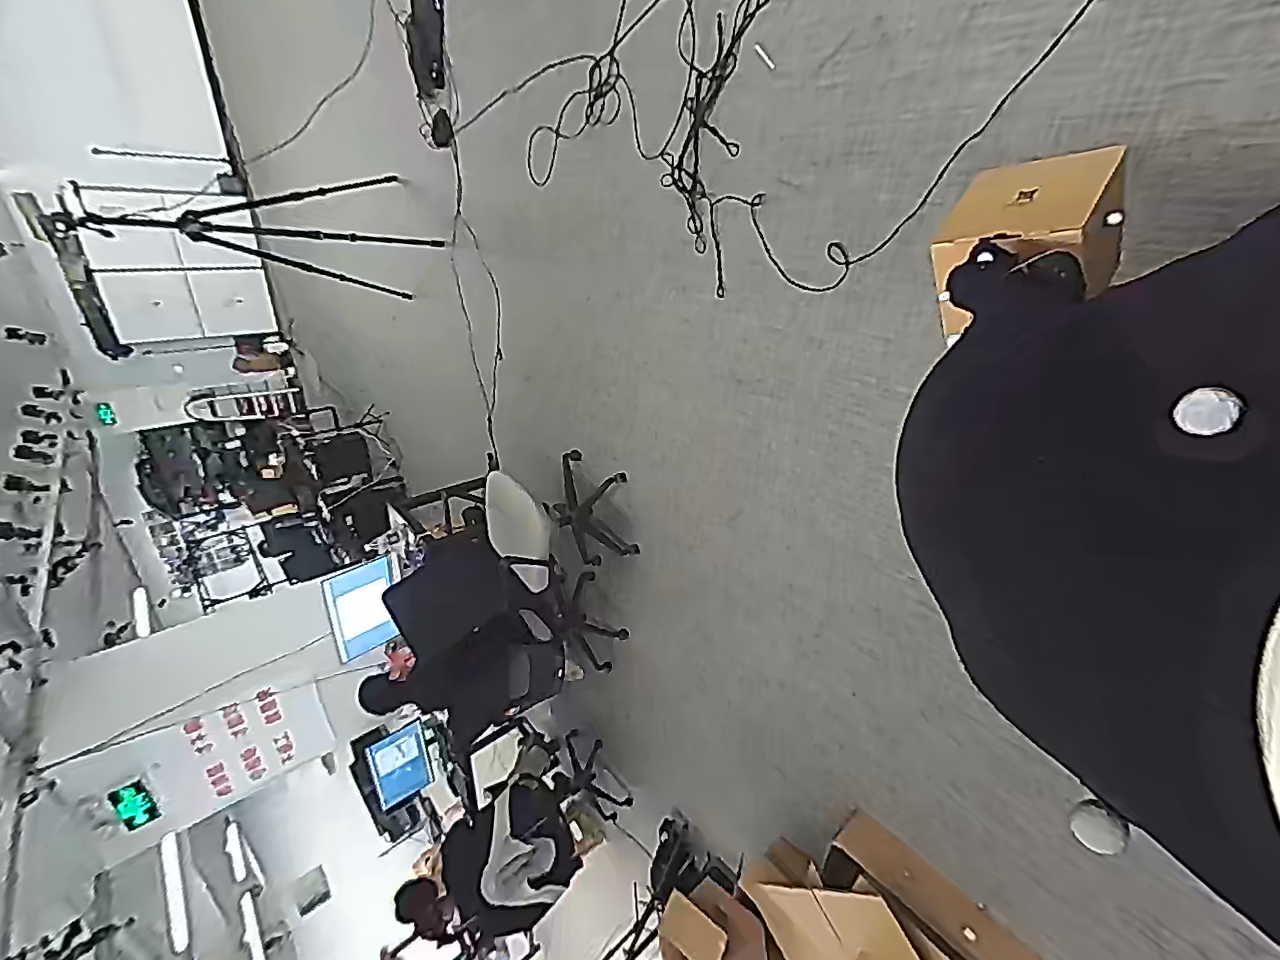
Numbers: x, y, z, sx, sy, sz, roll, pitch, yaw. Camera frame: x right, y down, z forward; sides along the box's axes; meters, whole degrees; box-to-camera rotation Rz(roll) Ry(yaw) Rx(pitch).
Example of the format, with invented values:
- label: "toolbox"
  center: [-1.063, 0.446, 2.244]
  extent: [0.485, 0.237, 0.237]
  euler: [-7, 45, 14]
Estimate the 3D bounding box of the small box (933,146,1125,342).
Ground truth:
- label: "small box"
  center: [0.532, -0.315, 0.746]
  extent: [0.168, 0.179, 0.176]
  euler: [17, 153, 46]
